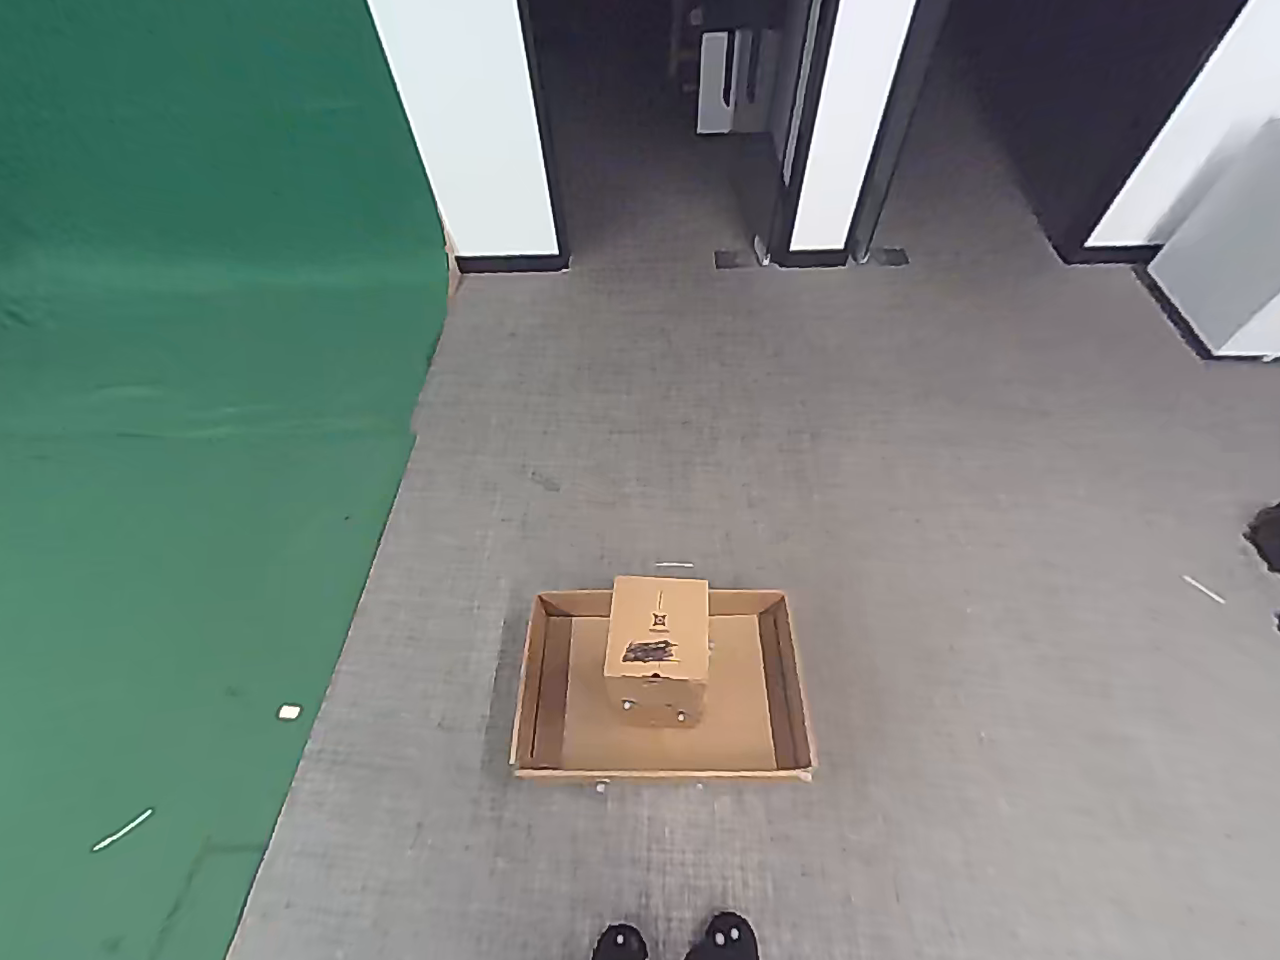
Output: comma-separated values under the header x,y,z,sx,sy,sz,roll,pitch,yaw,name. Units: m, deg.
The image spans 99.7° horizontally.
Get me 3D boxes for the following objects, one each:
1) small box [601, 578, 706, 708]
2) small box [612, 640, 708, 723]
x,y,z,sx,sy,sz,roll,pitch,yaw,name
0.029,0.294,0.961,0.168,0.176,0.179,3,52,4,small box
0.038,0.380,1.082,0.179,0.176,0.168,-1,54,1,small box
